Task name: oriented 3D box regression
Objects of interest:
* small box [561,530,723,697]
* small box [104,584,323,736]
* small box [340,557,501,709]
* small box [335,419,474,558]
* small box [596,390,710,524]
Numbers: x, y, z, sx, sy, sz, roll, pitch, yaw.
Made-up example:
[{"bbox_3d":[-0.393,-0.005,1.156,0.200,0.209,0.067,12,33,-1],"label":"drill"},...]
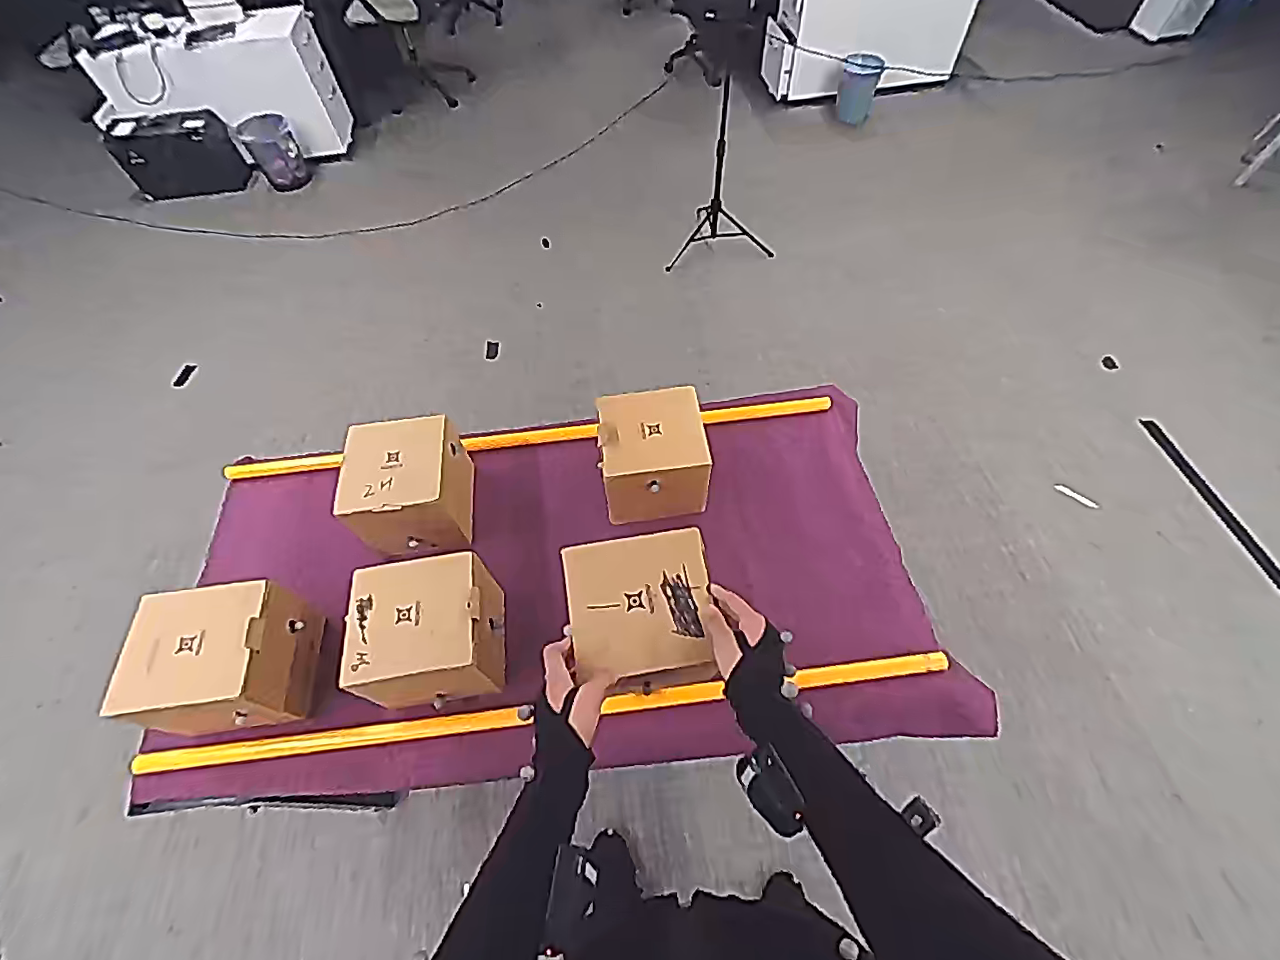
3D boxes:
[{"bbox_3d":[-0.004,0.182,0.715,0.179,0.176,0.168,-8,62,-5],"label":"small box"},{"bbox_3d":[-0.603,0.269,0.799,0.179,0.176,0.168,-7,57,-4],"label":"small box"},{"bbox_3d":[-0.311,0.233,0.809,0.179,0.176,0.168,-8,57,-3],"label":"small box"},{"bbox_3d":[-0.399,0.018,0.950,0.168,0.176,0.179,-7,59,-2],"label":"small box"},{"bbox_3d":[0.020,-0.037,0.966,0.179,0.176,0.168,-8,59,-1],"label":"small box"}]
